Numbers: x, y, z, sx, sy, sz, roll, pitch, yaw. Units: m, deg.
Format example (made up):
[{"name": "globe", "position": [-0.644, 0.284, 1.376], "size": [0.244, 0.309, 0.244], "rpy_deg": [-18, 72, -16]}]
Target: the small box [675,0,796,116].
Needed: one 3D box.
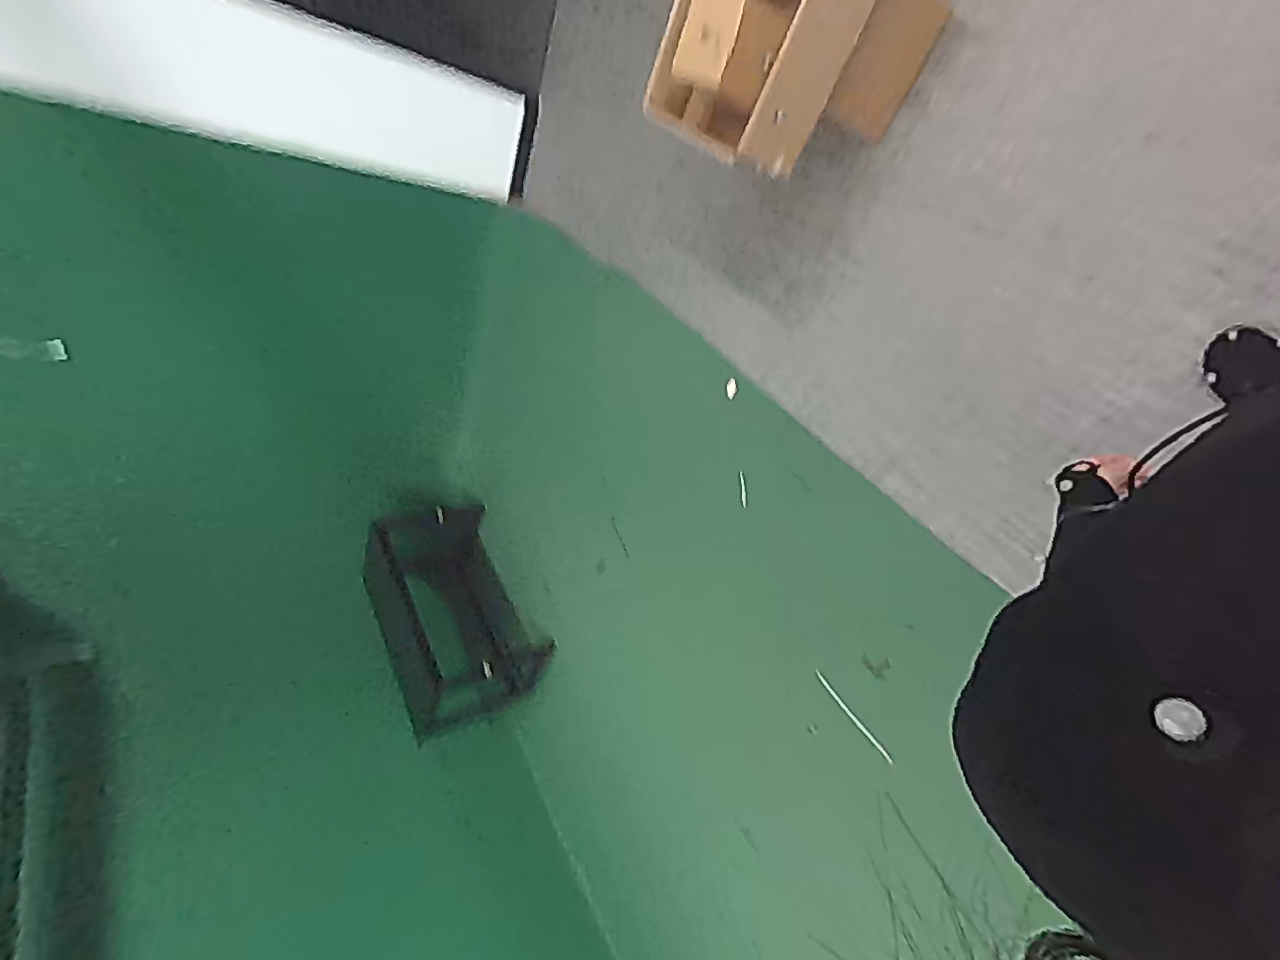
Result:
[{"name": "small box", "position": [0.217, -0.966, 1.240], "size": [0.179, 0.176, 0.168], "rpy_deg": [47, 129, 35]}]
